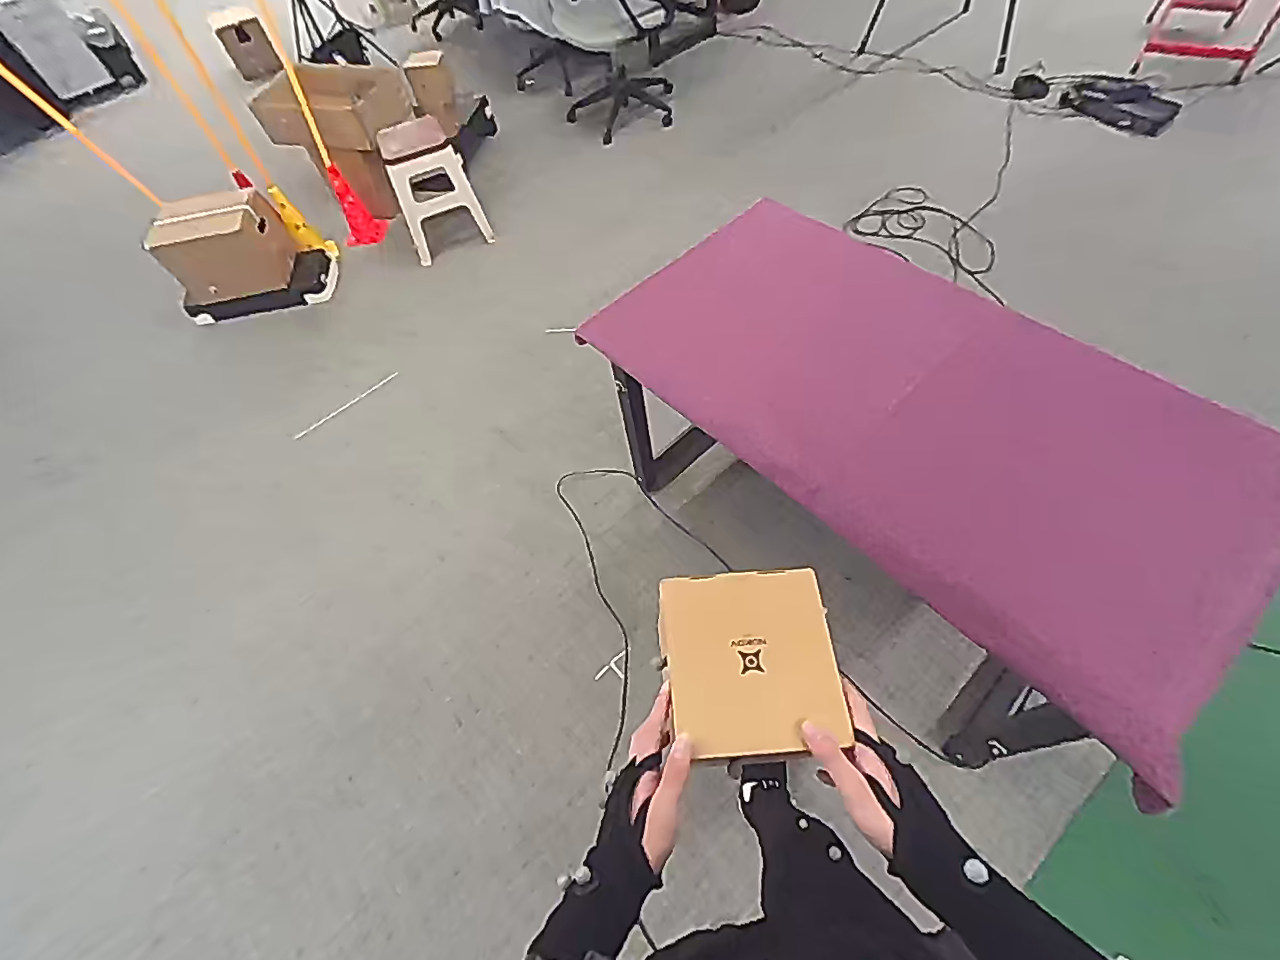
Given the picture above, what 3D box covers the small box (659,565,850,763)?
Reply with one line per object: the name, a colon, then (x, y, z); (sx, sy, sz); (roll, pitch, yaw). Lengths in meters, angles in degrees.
small box: (0.111, 0.212, 0.602); (0.168, 0.176, 0.179); (-5, 58, 0)
